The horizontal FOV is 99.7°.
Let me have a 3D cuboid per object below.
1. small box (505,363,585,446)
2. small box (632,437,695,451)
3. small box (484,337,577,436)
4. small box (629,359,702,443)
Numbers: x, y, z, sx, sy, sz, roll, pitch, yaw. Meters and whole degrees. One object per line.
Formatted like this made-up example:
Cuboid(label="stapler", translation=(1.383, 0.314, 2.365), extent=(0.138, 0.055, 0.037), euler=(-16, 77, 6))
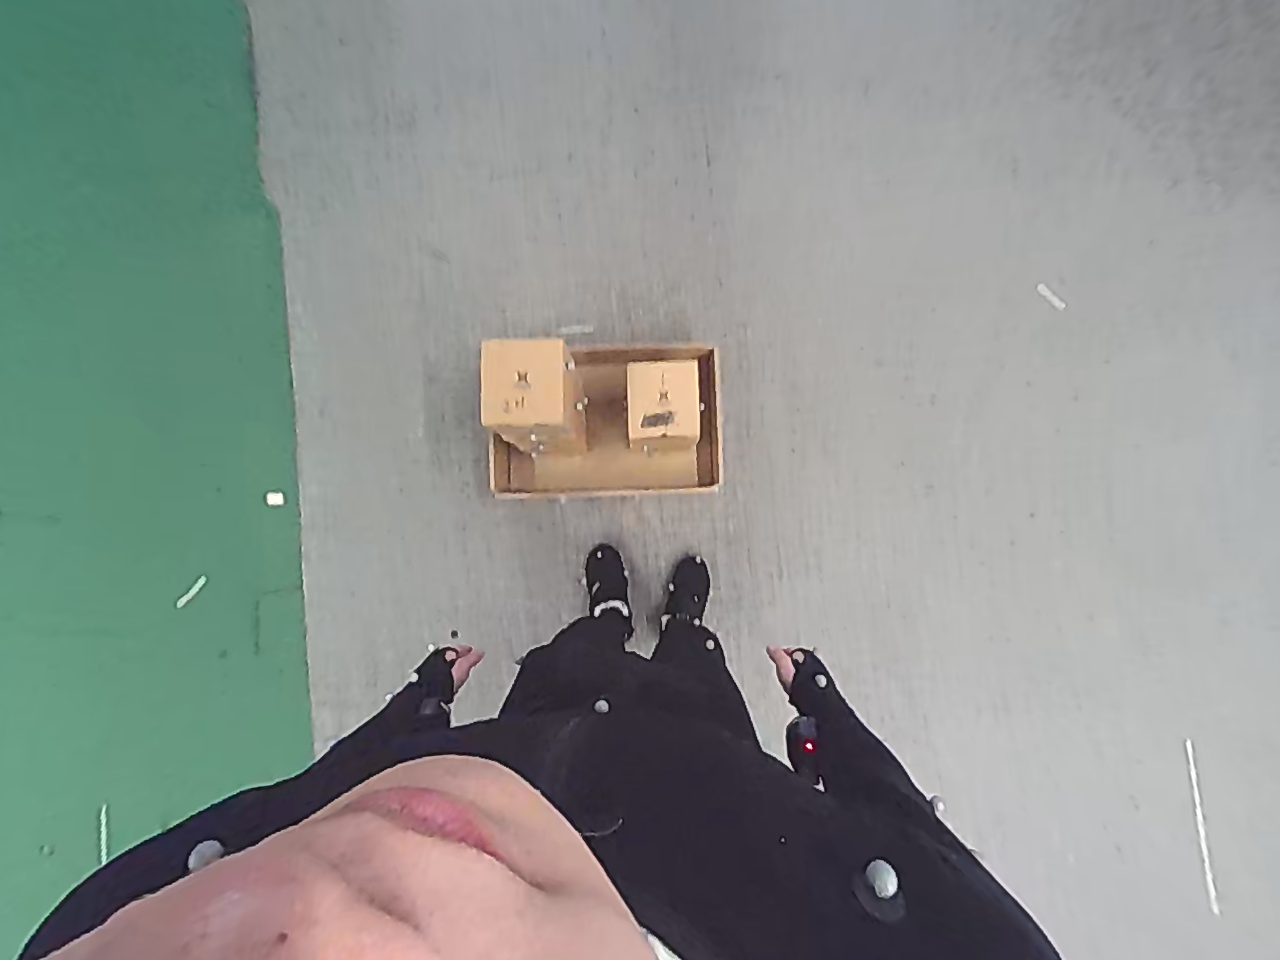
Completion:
Cuboid(label="small box", translation=(-0.228, -0.180, 1.323), extent=(0.168, 0.176, 0.179), euler=(-1, 87, 1))
Cuboid(label="small box", translation=(0.063, -0.175, 1.475), extent=(0.168, 0.176, 0.179), euler=(-2, 88, 3))
Cuboid(label="small box", translation=(-0.228, -0.195, 1.159), extent=(0.168, 0.176, 0.179), euler=(-1, 87, 1))
Cuboid(label="small box", translation=(0.064, -0.184, 1.311), extent=(0.168, 0.176, 0.179), euler=(-2, 86, 3))
